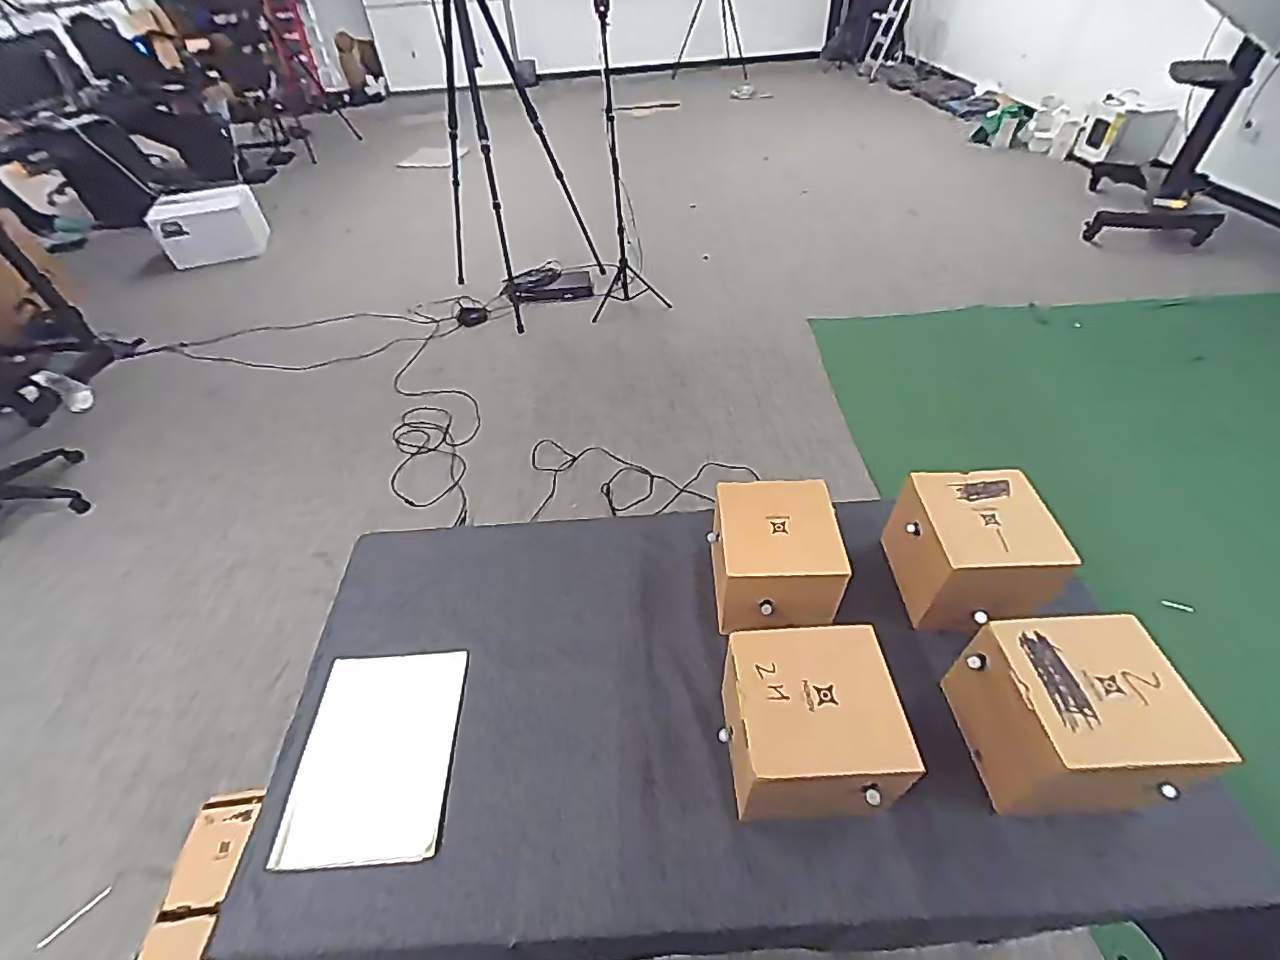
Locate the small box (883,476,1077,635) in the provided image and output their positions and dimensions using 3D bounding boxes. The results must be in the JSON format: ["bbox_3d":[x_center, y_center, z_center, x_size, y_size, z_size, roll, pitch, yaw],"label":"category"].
[{"bbox_3d":[0.489,0.114,0.815,0.168,0.176,0.179,-2,46,3],"label":"small box"}]

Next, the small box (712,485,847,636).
[{"bbox_3d":[0.200,0.129,0.828,0.168,0.176,0.179,-2,45,3],"label":"small box"}]

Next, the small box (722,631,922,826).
[{"bbox_3d":[0.199,0.300,0.652,0.179,0.176,0.168,-4,44,1],"label":"small box"}]
